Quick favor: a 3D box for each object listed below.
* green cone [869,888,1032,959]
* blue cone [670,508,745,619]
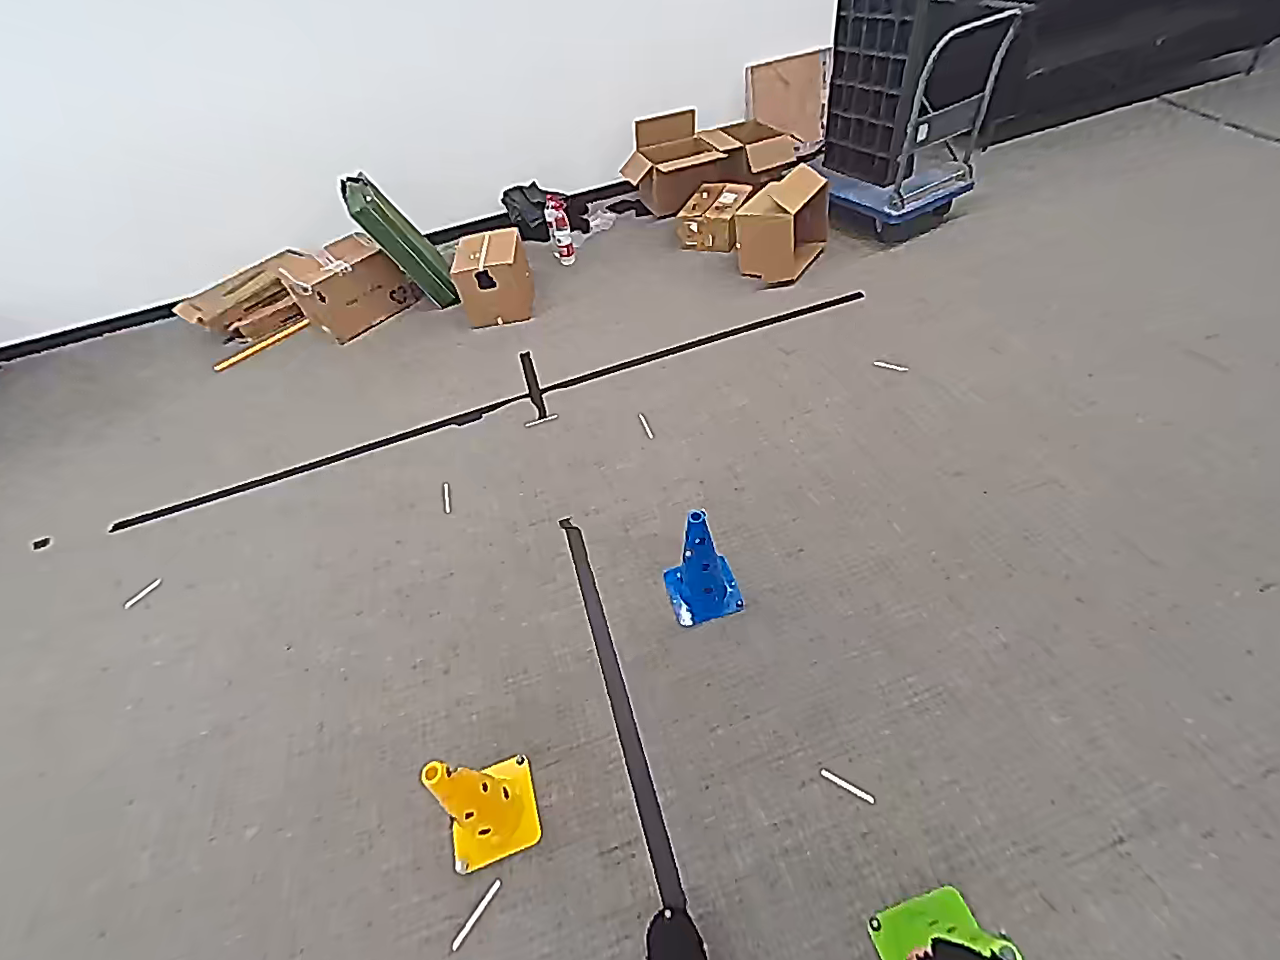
[{"bbox_3d":[0.541,0.788,0.878,0.202,0.368,0.200,-17,47,-7],"label":"green cone"},{"bbox_3d":[0.176,0.210,1.493,0.192,0.380,0.193,-14,47,-4],"label":"blue cone"}]
